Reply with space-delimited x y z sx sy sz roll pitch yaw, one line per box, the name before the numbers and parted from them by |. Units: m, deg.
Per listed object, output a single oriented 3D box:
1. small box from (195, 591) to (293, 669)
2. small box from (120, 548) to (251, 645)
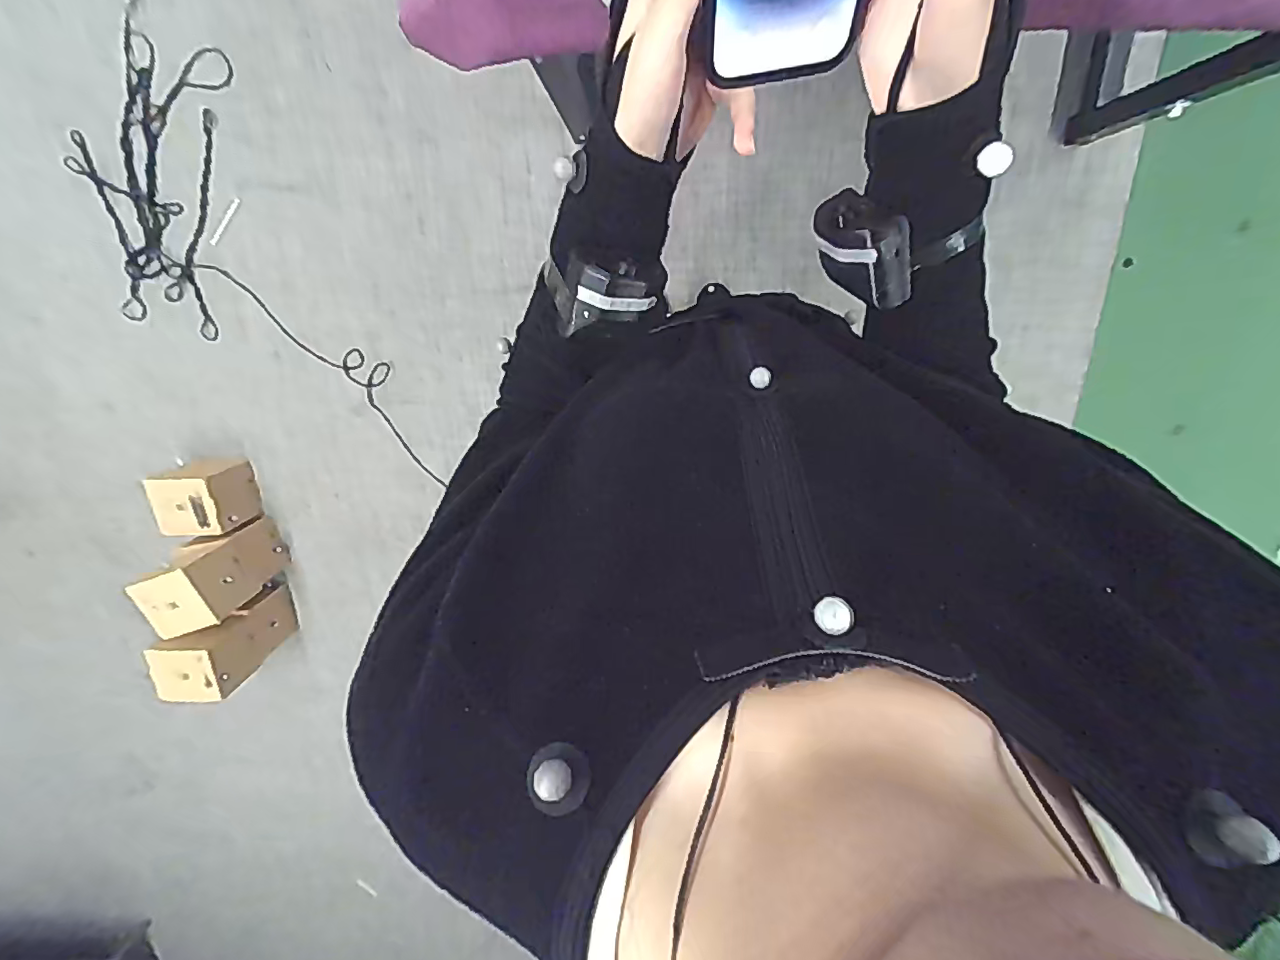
small box | -1.197 0.447 1.638 0.168 0.176 0.179 -1 109 3
small box | -1.173 0.299 1.418 0.179 0.176 0.168 -17 107 8
